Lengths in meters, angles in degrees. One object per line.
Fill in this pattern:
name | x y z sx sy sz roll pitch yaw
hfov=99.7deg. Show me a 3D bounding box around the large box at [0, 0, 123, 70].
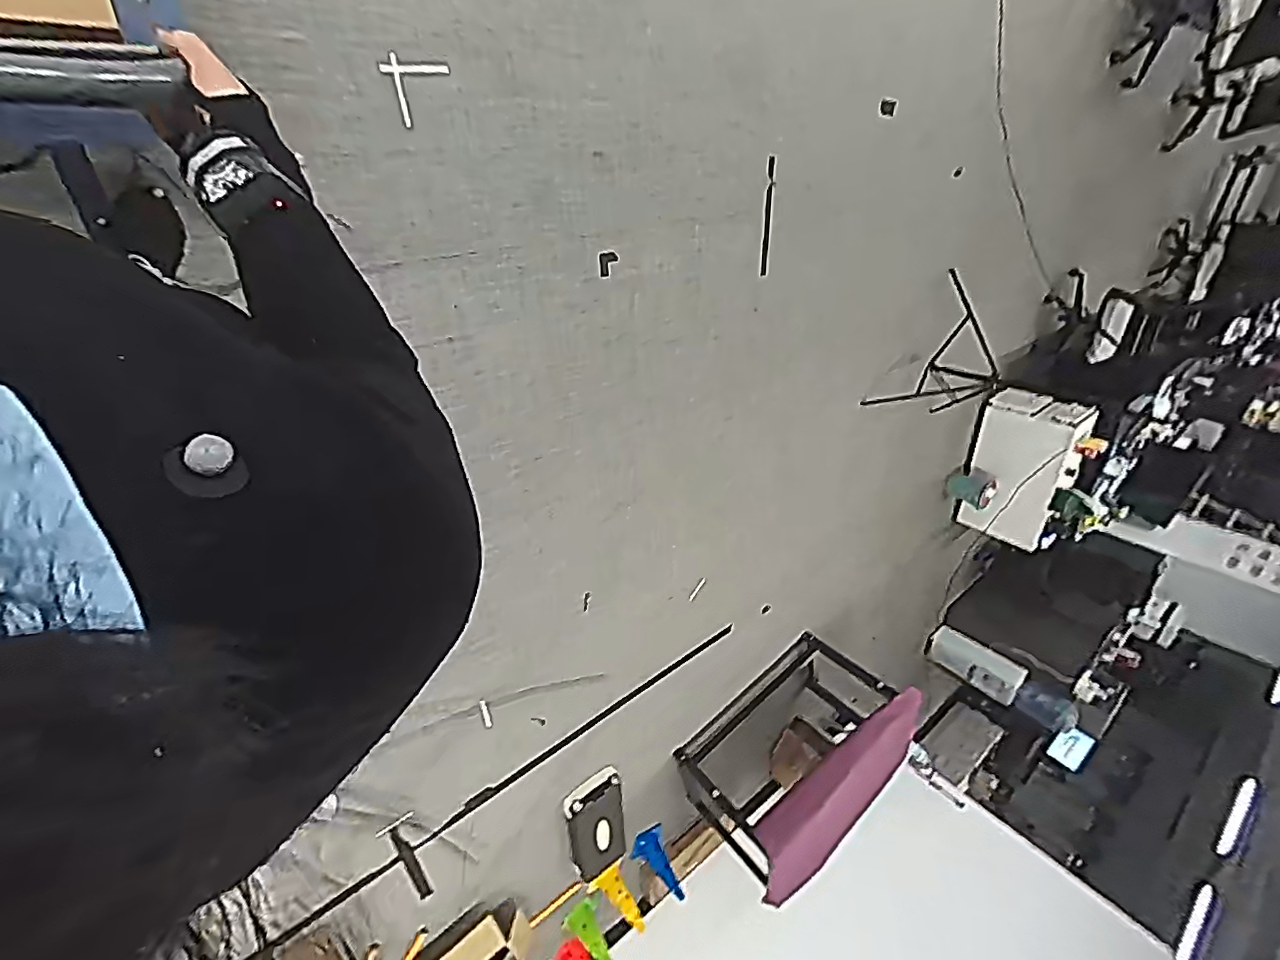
large box | -0.873 -0.657 0.565 0.408 0.320 0.320 -22 125 -33
